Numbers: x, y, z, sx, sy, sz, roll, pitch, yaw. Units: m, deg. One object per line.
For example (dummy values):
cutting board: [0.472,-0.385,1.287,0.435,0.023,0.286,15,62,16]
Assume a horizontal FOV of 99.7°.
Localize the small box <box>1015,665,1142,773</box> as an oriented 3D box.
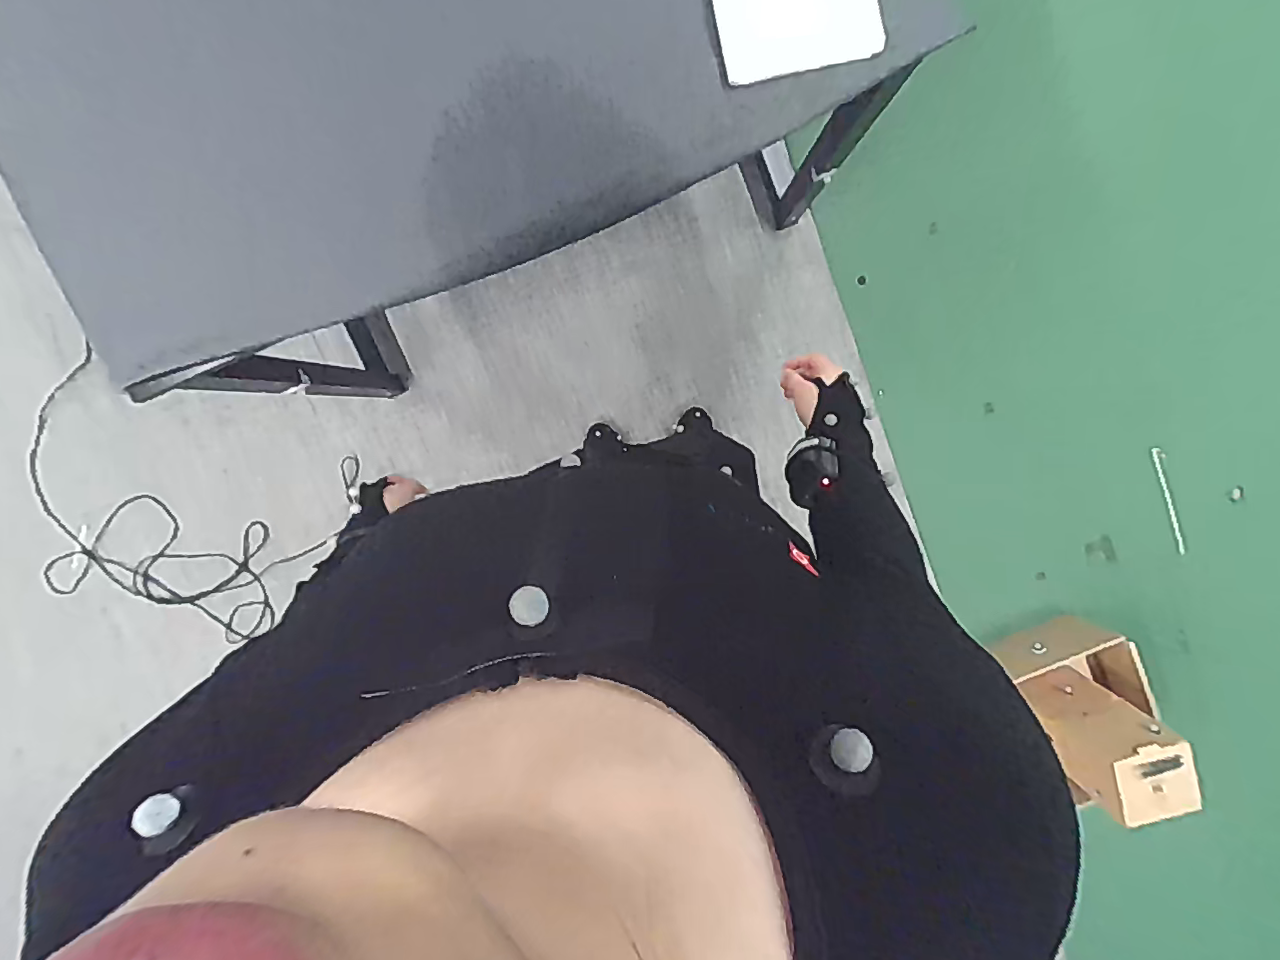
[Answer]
small box: [1.131,0.612,1.406,0.179,0.176,0.168,-23,98,5]
